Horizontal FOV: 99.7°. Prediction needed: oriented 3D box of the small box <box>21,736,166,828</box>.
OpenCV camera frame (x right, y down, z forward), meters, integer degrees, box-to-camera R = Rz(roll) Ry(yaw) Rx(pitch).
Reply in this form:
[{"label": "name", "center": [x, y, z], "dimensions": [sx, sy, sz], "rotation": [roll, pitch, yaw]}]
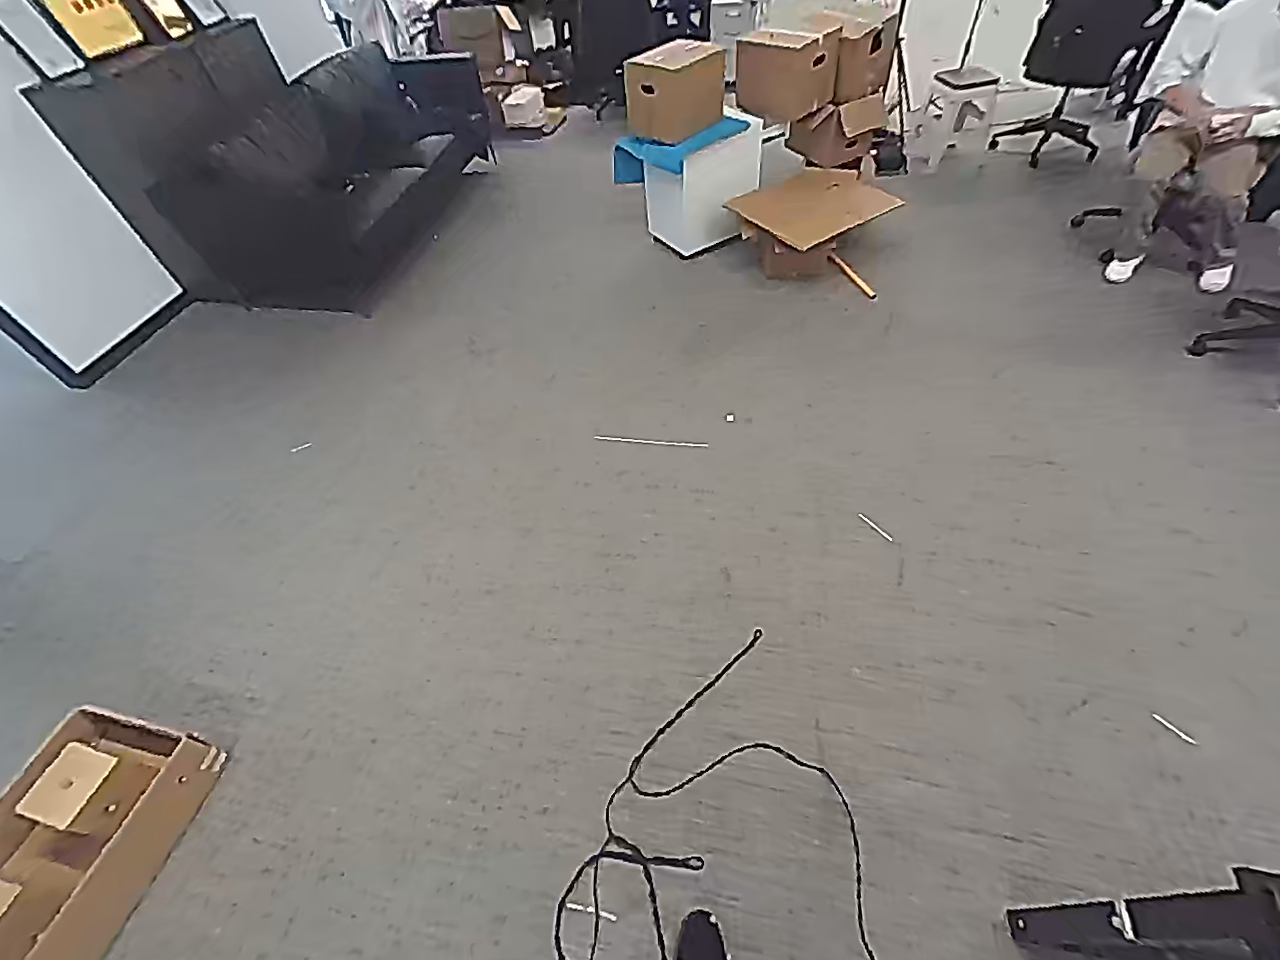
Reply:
[{"label": "small box", "center": [-1.438, 0.809, 1.439], "dimensions": [0.179, 0.176, 0.168], "rotation": [8, 52, 13]}]
